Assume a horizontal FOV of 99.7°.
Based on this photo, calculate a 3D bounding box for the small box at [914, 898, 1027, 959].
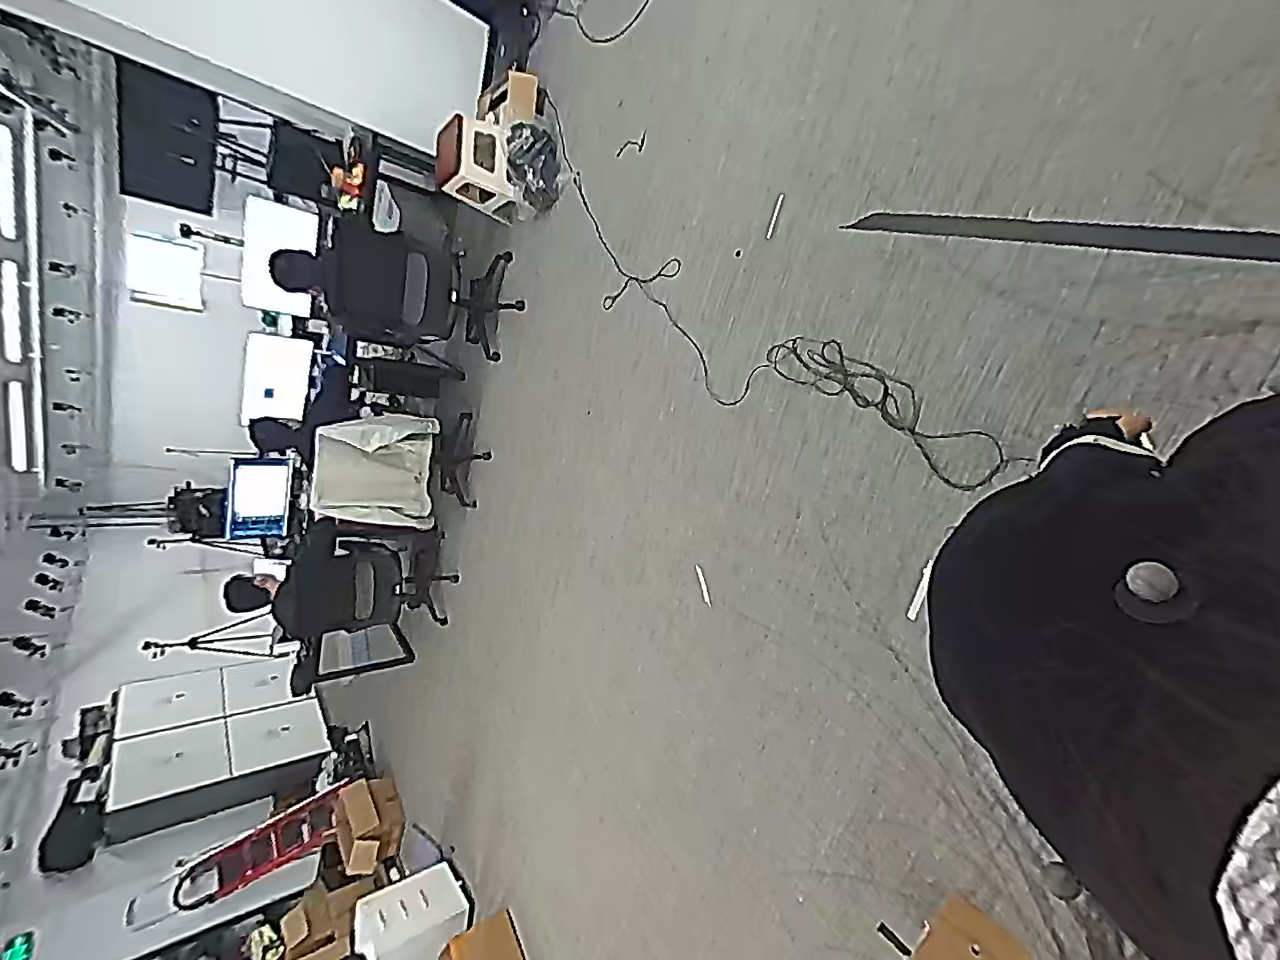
[{"bbox_3d":[0.782,1.155,1.293,0.179,0.176,0.168,25,108,45],"label":"small box"}]

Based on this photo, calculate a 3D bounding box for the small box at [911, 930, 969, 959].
[{"bbox_3d":[0.665,1.152,1.177,0.179,0.176,0.168,28,109,44],"label":"small box"}]
